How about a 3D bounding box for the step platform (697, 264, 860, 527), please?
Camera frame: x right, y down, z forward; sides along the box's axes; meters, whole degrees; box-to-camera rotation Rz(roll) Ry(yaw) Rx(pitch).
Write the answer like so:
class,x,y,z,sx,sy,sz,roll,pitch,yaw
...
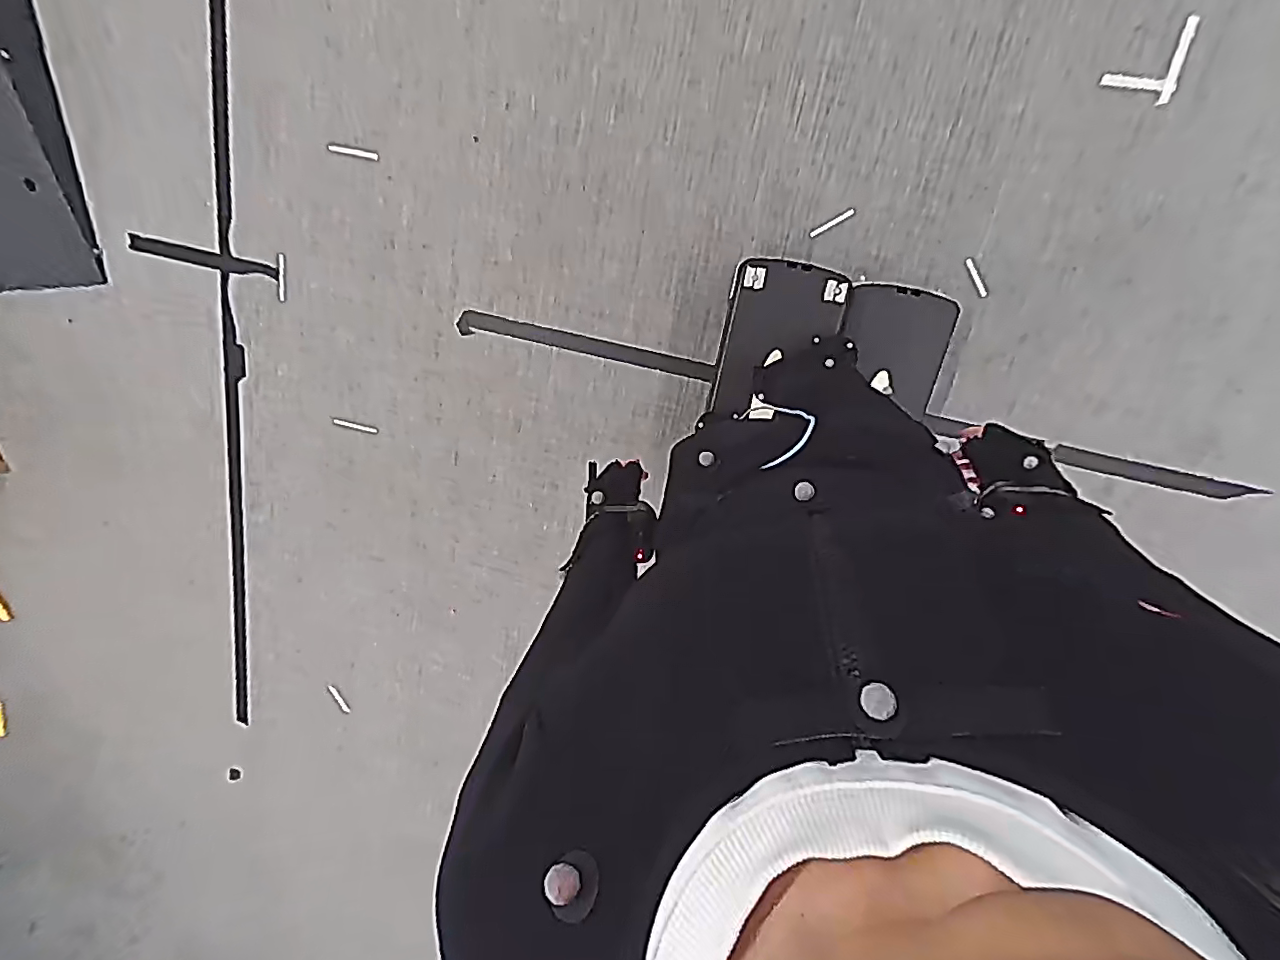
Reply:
class,x,y,z,sx,sy,sz,roll,pitch,yaw
step platform,0.356,-0.216,1.464,0.286,0.204,0.684,12,105,5
